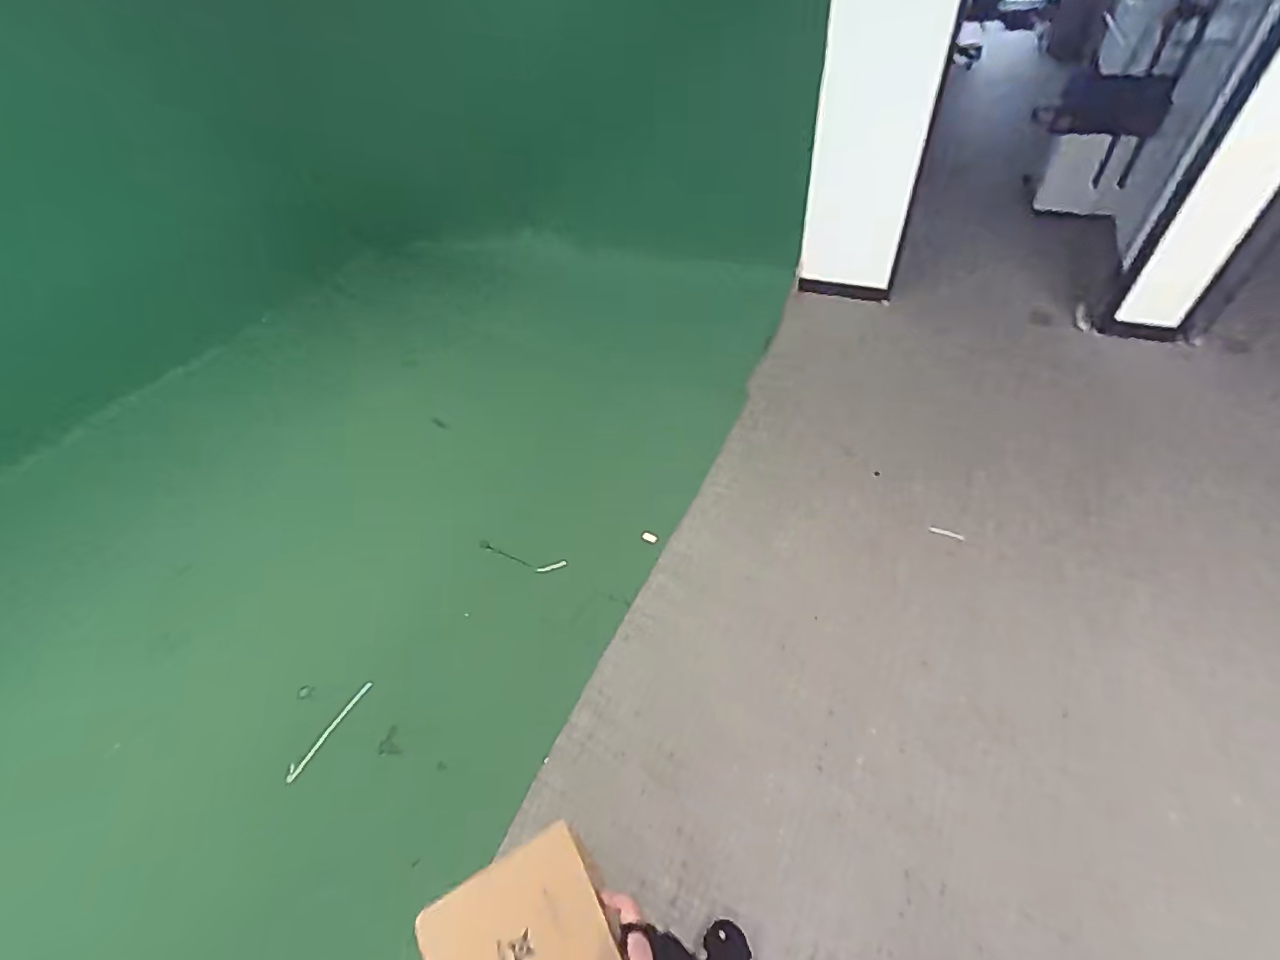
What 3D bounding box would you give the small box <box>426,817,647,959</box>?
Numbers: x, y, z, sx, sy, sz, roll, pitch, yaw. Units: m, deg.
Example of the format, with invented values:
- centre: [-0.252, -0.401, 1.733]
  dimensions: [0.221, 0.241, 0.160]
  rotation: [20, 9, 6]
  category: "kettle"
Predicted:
- centre: [-0.100, 0.516, 0.585]
  dimensions: [0.179, 0.176, 0.168]
  rotation: [-26, 46, -16]
  category: "small box"
